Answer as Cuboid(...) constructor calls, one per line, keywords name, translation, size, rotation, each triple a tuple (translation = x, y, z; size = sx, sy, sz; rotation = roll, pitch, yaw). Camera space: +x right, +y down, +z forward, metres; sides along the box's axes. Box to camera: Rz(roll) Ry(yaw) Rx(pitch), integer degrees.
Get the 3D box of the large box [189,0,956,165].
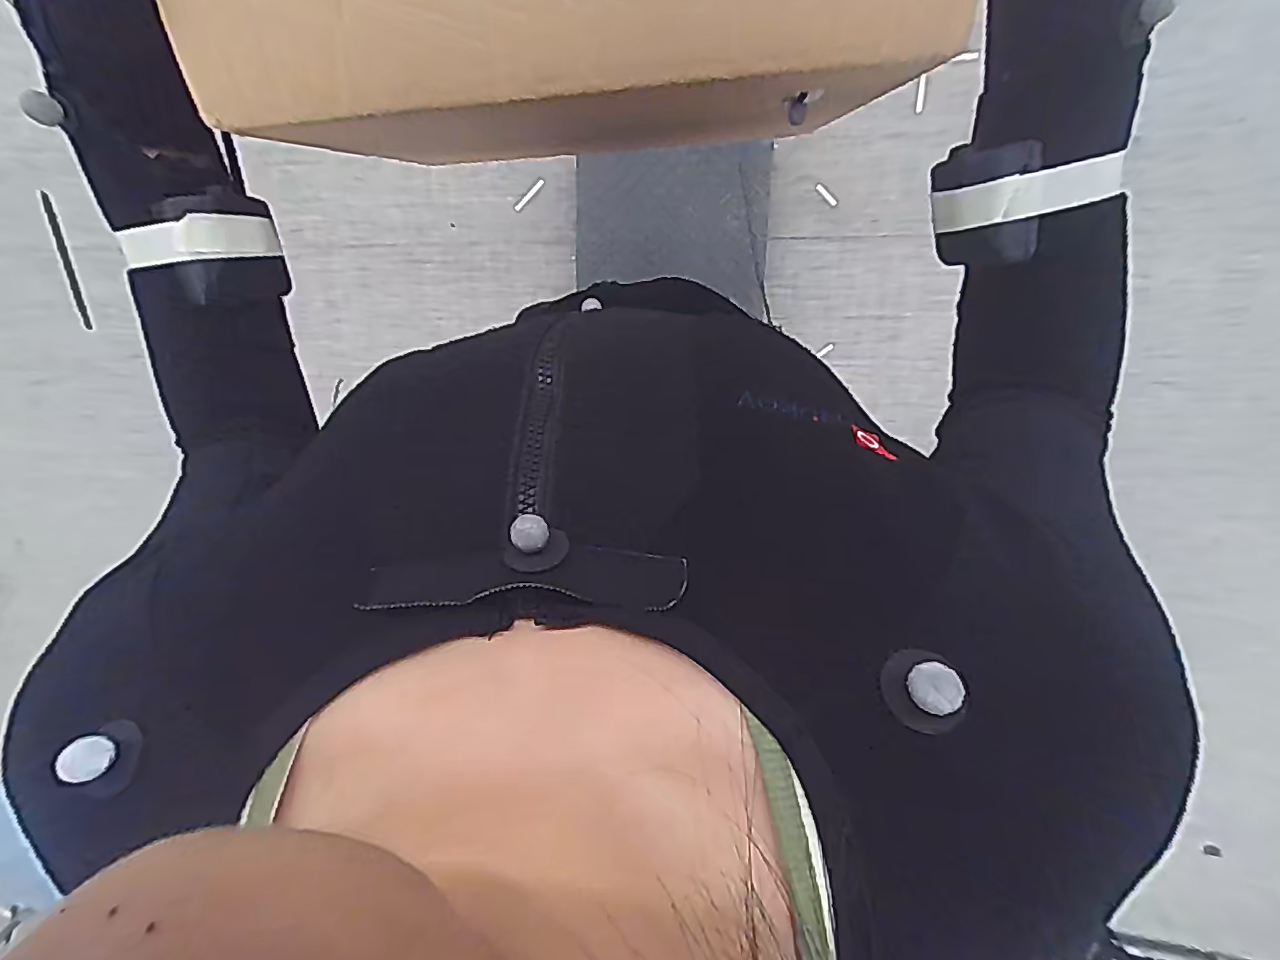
Cuboid(name="large box", translation=(-0.041, -0.413, 0.362), size=(0.408, 0.320, 0.320), rotation=(-3, 116, 4))
